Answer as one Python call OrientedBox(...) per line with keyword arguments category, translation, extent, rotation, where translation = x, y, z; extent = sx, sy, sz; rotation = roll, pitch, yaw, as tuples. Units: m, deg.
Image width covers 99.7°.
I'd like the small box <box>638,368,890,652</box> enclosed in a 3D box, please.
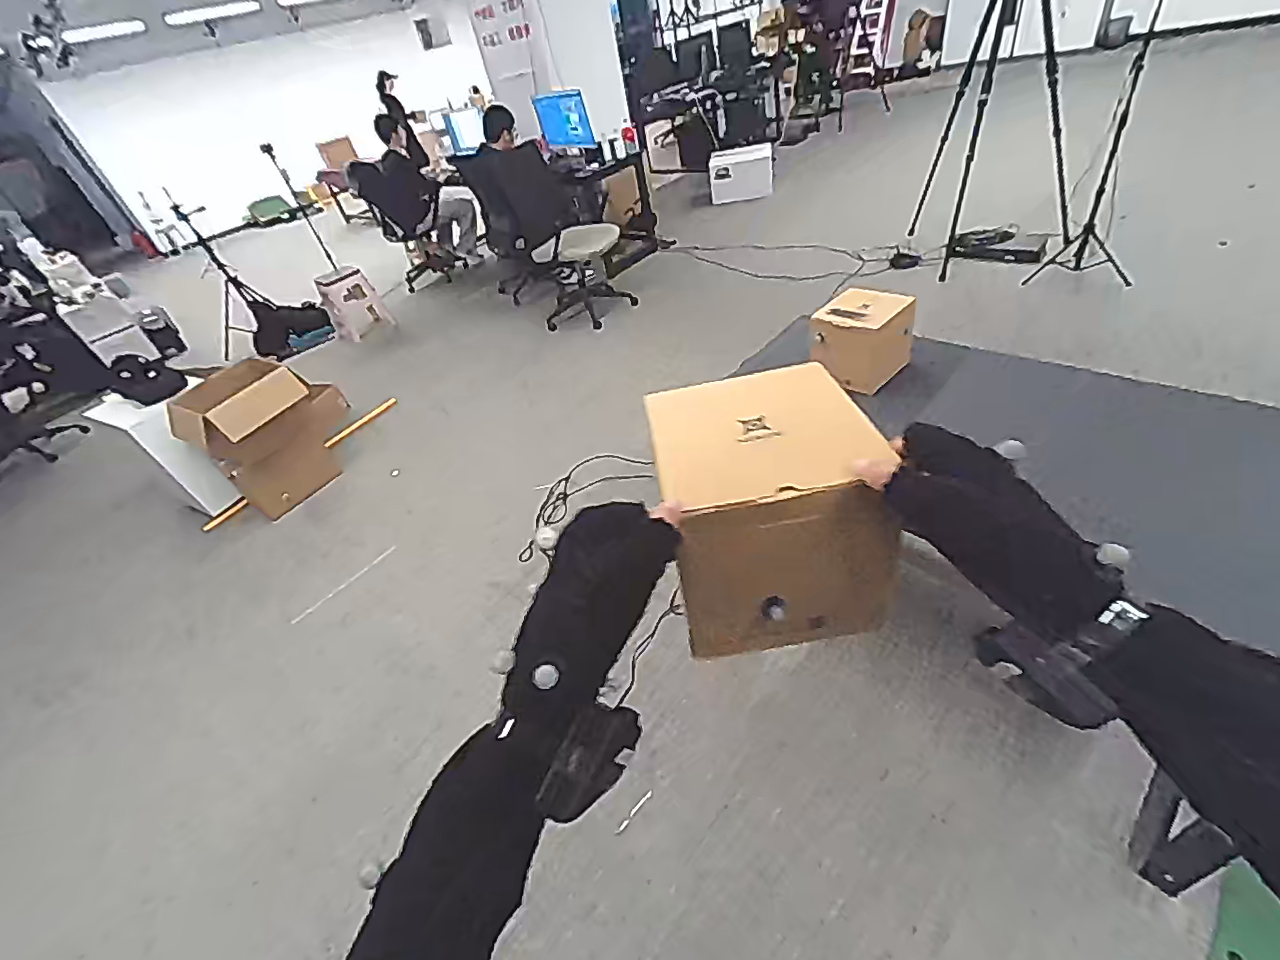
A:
OrientedBox(category="small box", translation=(0.096, 0.024, 0.487), extent=(0.168, 0.176, 0.179), rotation=(-11, 38, 1))
